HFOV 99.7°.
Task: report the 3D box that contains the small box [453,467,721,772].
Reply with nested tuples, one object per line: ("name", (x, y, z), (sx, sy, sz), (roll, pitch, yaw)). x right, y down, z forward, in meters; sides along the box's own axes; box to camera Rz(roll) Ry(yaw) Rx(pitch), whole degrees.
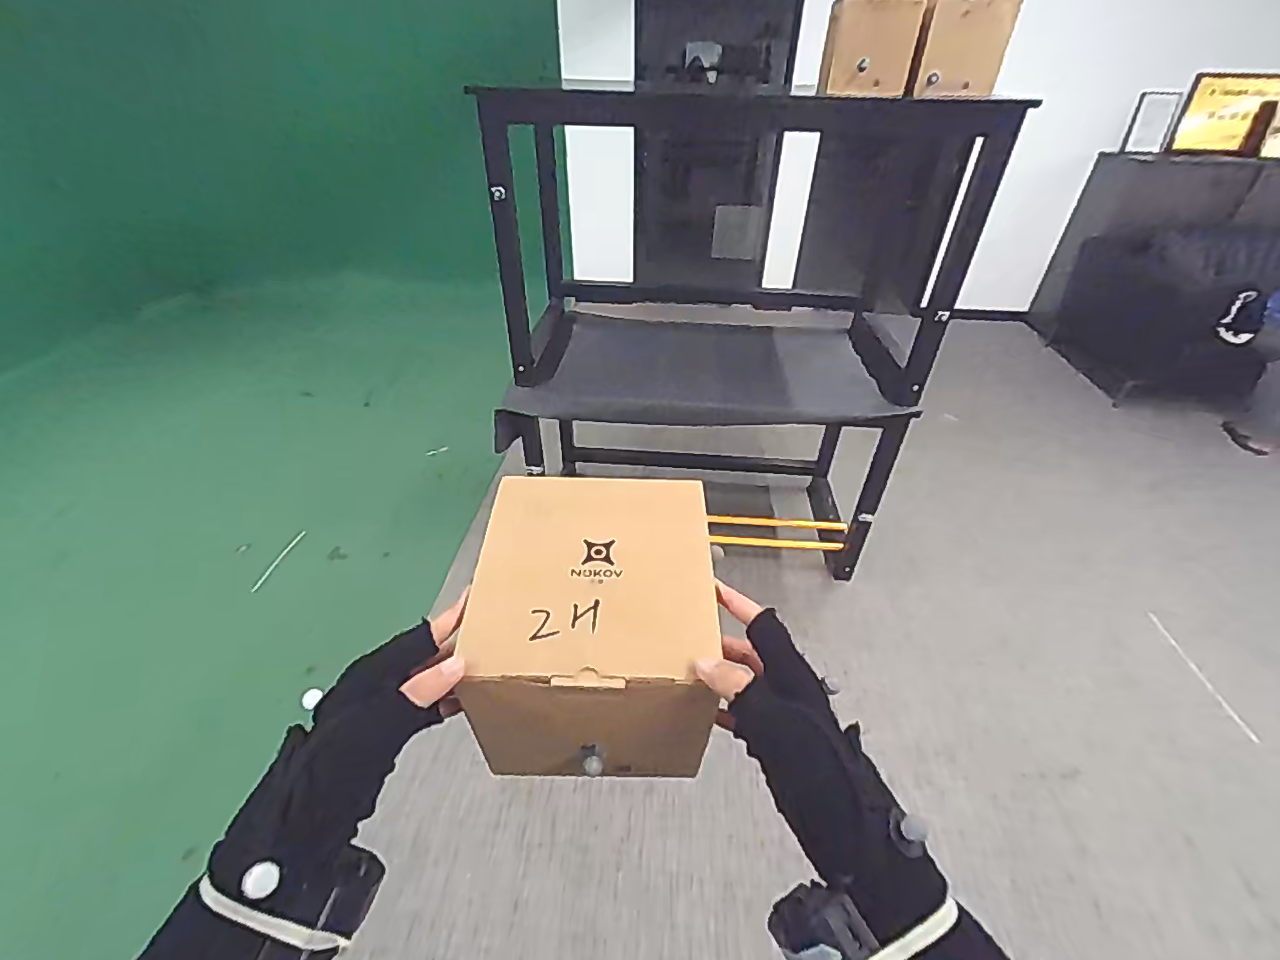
("small box", (-0.033, 0.109, 0.437), (0.168, 0.176, 0.179), (1, 42, 0))

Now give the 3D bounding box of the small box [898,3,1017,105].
("small box", (0.684, -0.936, 1.198), (0.168, 0.176, 0.179), (5, 36, 6))

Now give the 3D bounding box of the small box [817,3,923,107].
("small box", (0.503, -0.947, 1.212), (0.168, 0.176, 0.179), (6, 38, 6))
